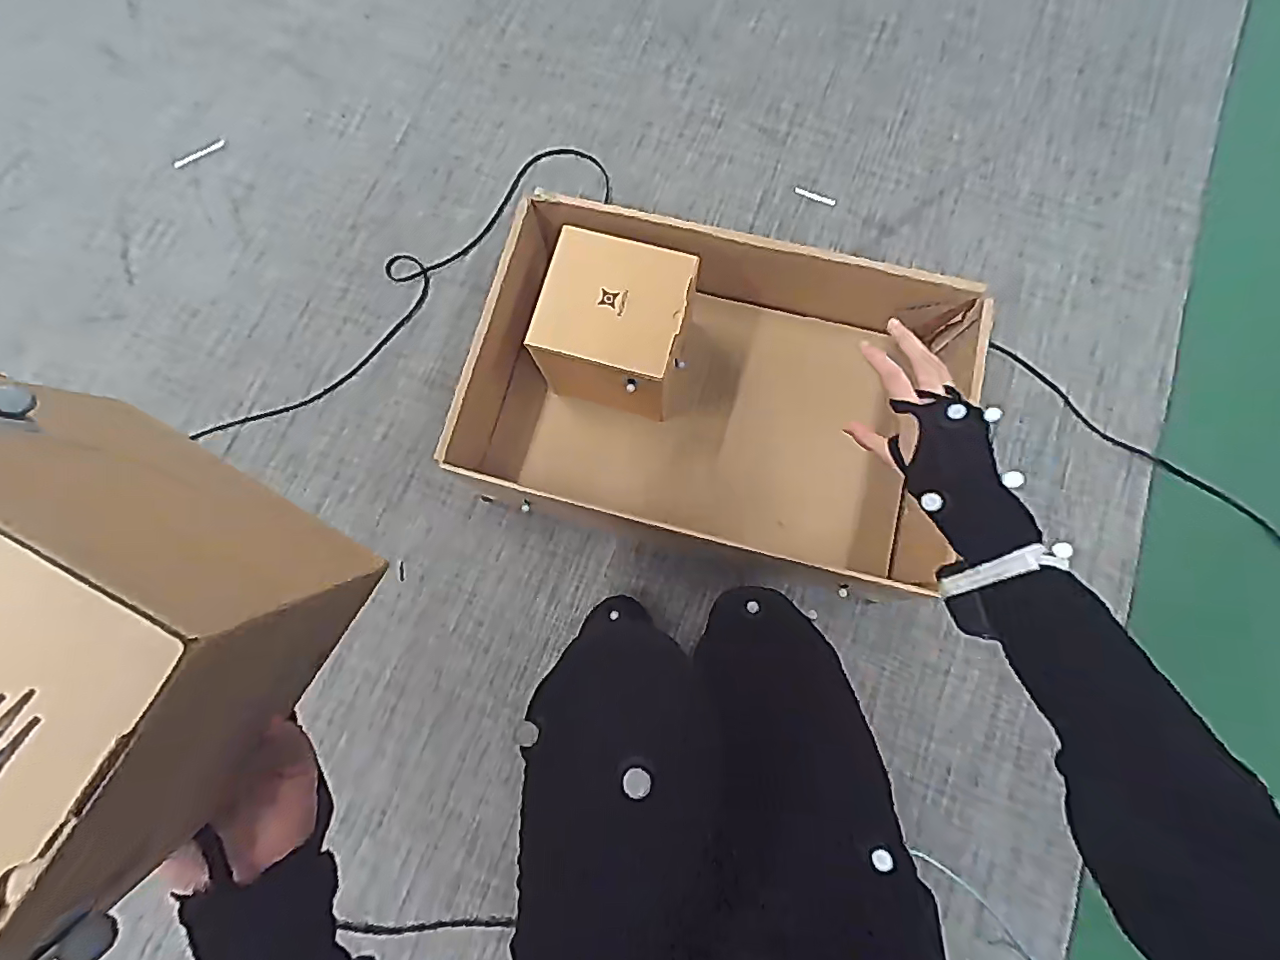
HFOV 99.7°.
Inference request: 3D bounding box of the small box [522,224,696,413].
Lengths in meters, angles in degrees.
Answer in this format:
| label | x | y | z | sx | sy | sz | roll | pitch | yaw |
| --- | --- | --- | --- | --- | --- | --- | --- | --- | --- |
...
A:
| label | x | y | z | sx | sy | sz | roll | pitch | yaw |
| --- | --- | --- | --- | --- | --- | --- | --- | --- | --- |
| small box | -0.035 | -0.204 | 0.726 | 0.179 | 0.176 | 0.168 | 15 | 81 | 4 |
